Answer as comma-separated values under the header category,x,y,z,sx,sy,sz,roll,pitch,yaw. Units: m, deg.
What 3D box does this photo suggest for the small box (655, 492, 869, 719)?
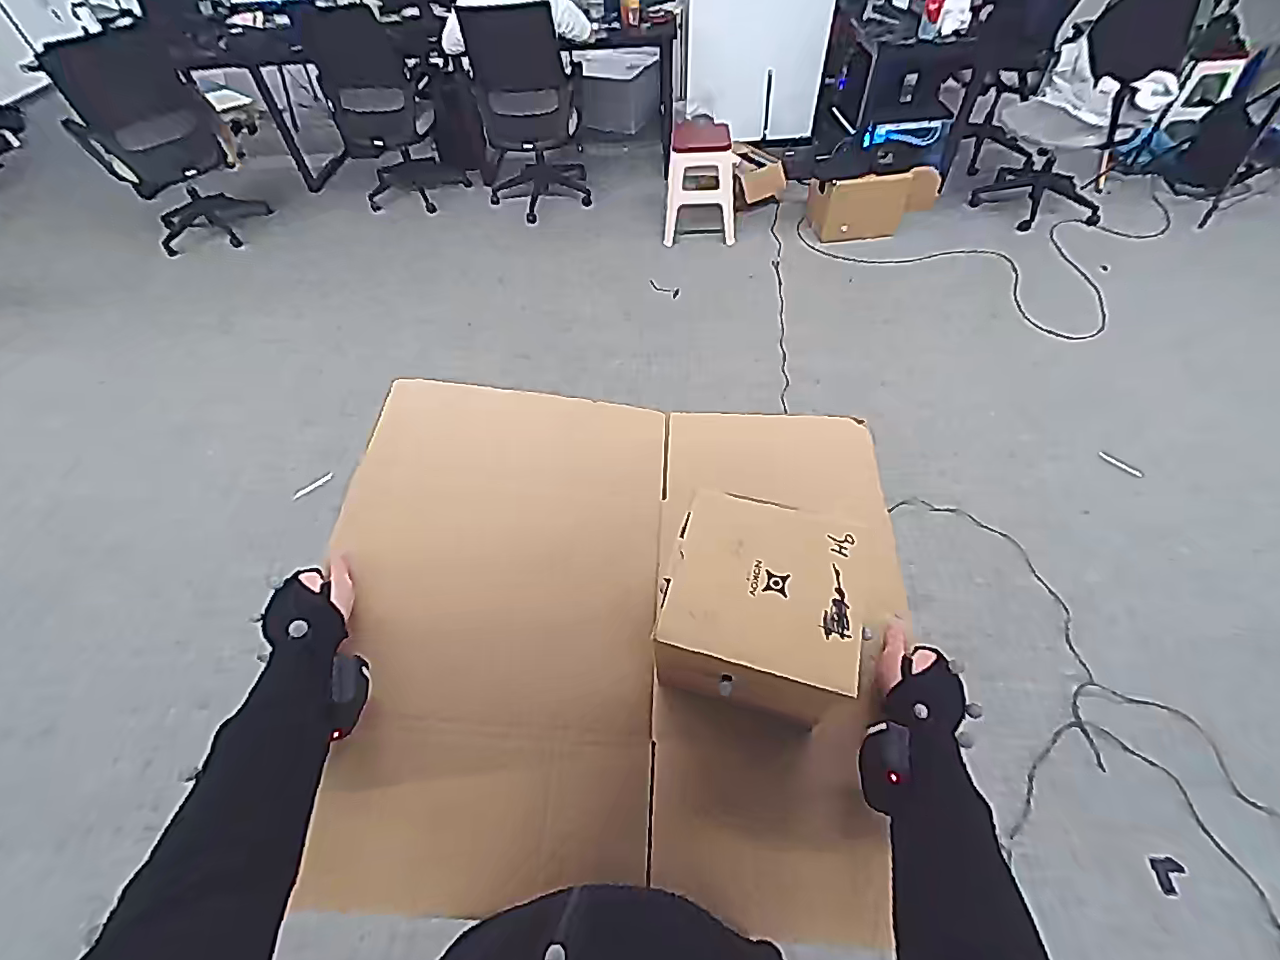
category,x,y,z,sx,sy,sz,roll,pitch,yaw
small box,0.125,0.138,0.575,0.179,0.176,0.168,12,59,12
